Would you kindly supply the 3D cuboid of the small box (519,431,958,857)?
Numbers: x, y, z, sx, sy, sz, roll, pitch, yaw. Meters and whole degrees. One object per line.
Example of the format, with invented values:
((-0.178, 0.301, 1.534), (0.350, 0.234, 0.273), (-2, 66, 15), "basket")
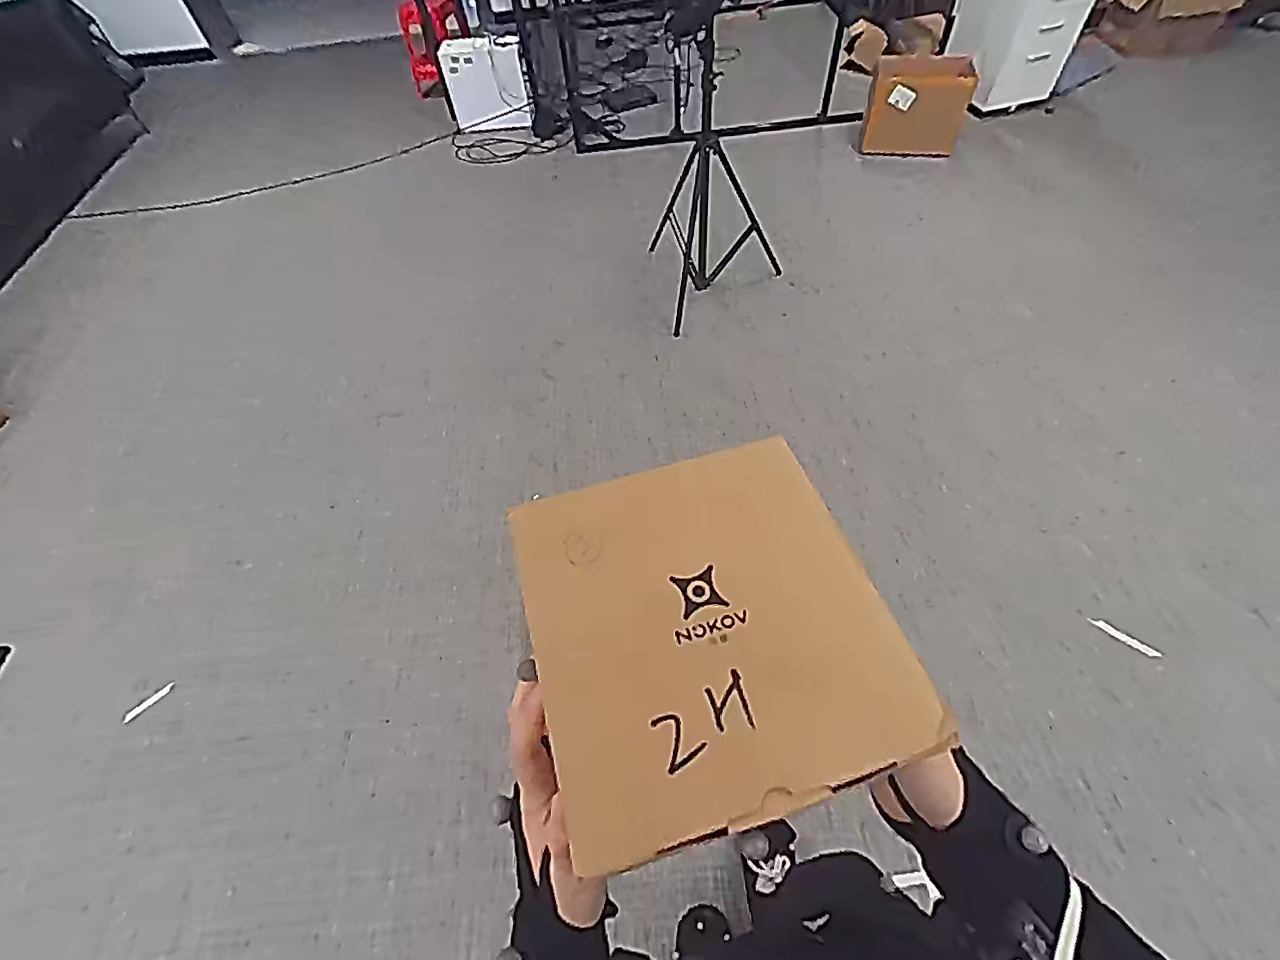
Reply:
((0.035, 0.103, 0.327), (0.168, 0.176, 0.179), (-15, 56, -8), "small box")
